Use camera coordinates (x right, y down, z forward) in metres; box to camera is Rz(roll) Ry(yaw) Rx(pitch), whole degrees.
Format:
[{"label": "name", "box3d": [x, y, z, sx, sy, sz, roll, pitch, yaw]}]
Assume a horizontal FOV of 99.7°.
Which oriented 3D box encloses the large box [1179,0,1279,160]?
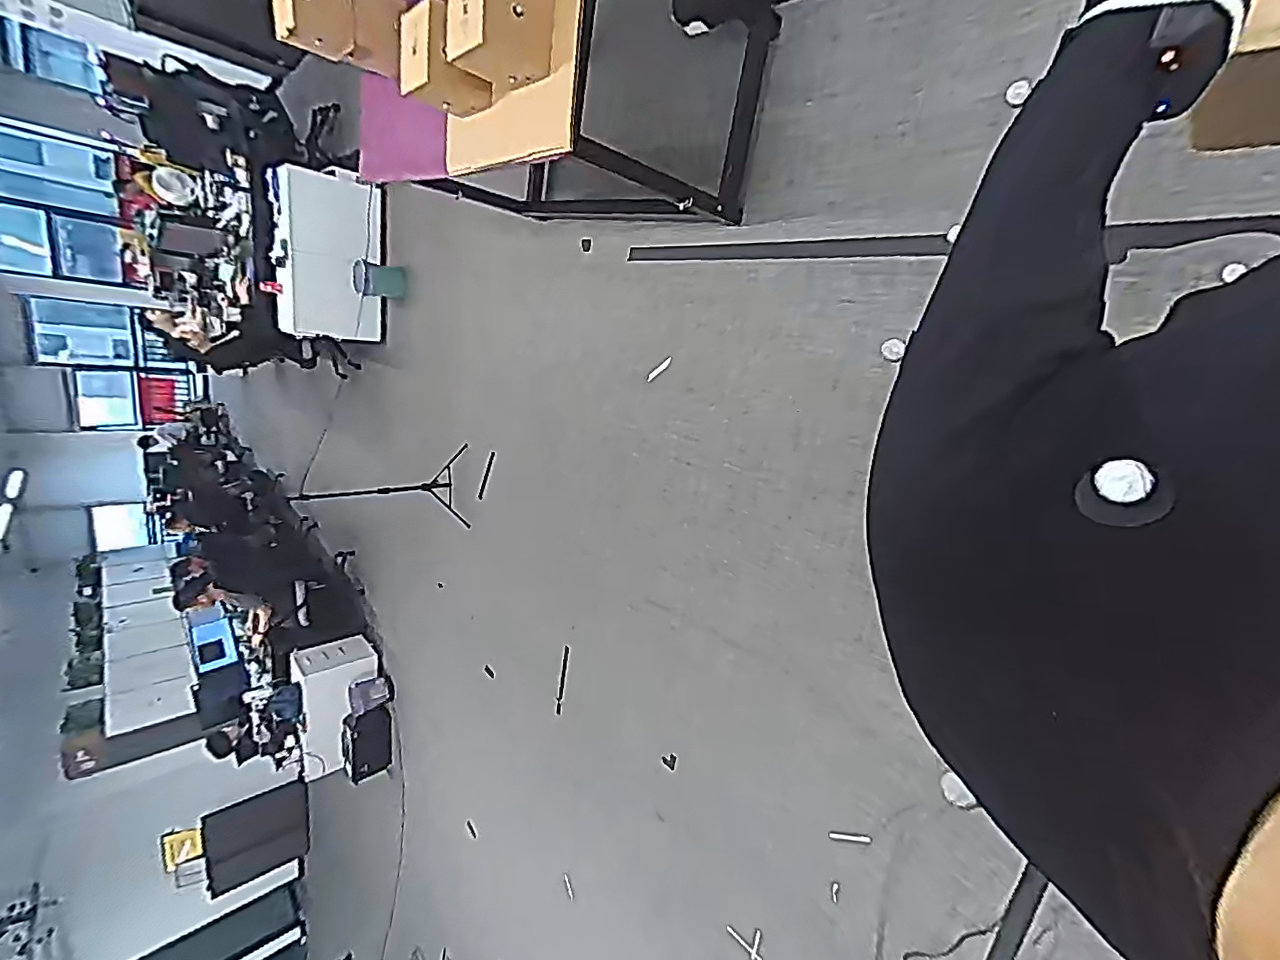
[{"label": "large box", "box3d": [0.651, -0.422, 0.326, 0.408, 0.320, 0.320, 22, 116, 42]}]
